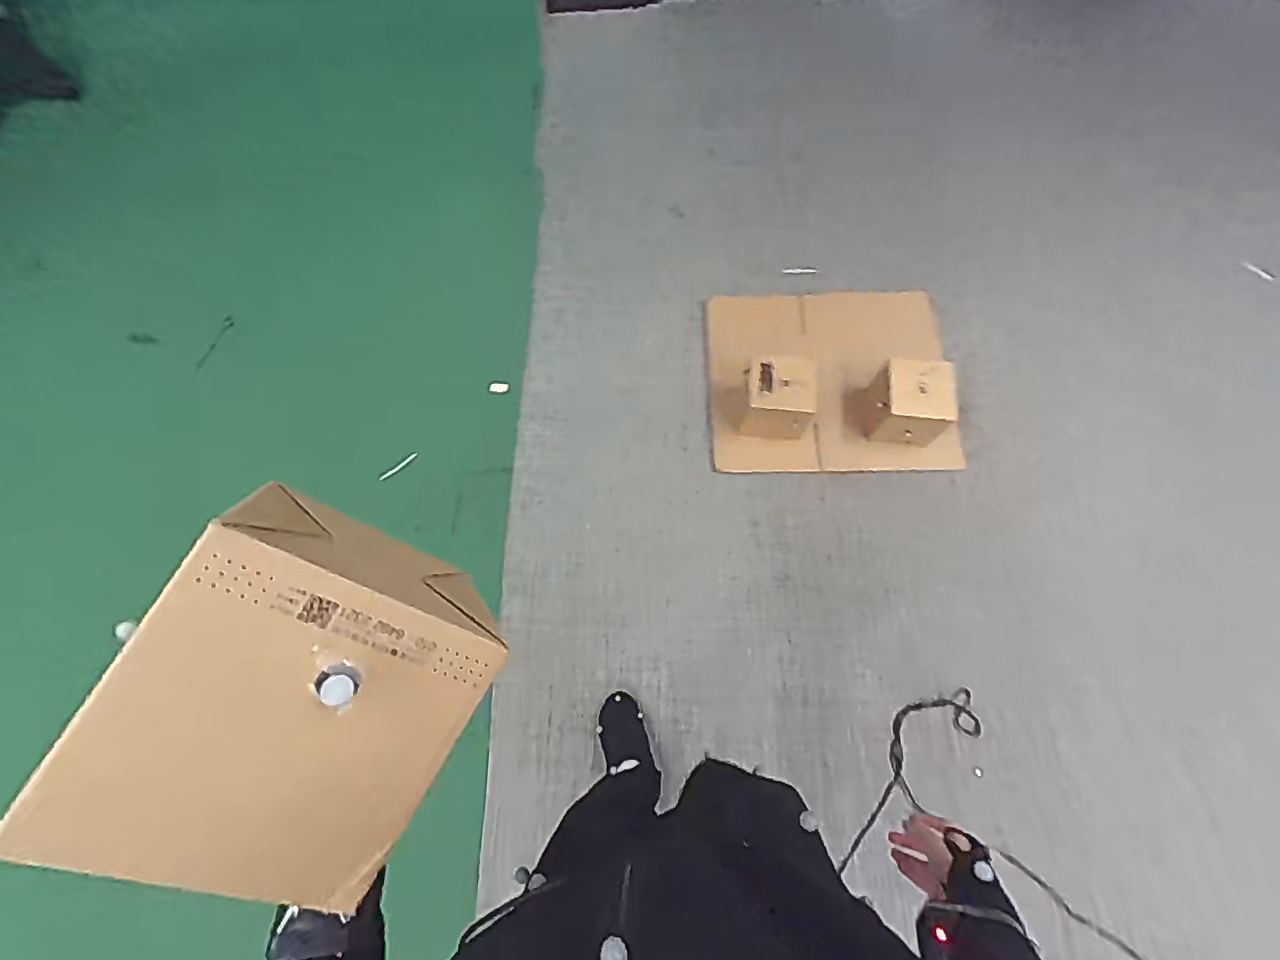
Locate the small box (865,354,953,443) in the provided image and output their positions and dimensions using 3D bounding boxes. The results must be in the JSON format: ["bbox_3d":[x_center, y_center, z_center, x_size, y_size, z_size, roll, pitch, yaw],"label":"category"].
[{"bbox_3d":[0.726,-0.217,1.475,0.168,0.176,0.179,7,69,4],"label":"small box"}]
